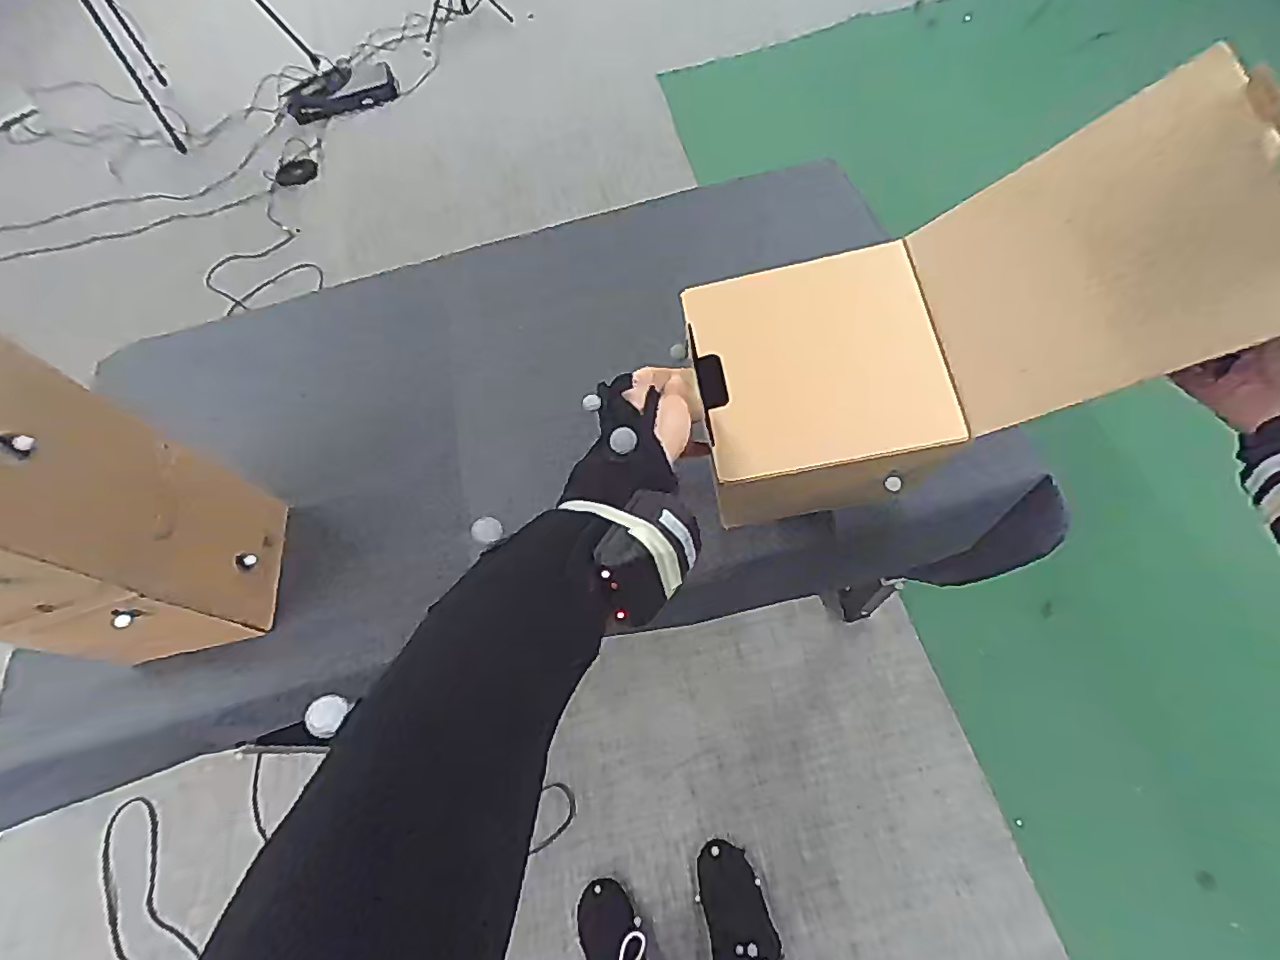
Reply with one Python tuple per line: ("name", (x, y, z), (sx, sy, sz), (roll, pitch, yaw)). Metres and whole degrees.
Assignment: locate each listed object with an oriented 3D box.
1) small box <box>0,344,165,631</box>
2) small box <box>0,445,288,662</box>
("small box", (-0.546, 0.017, 0.443), (0.168, 0.176, 0.179), (-17, 60, -3))
("small box", (-0.532, 0.089, 0.588), (0.179, 0.176, 0.168), (-13, 61, 1))
